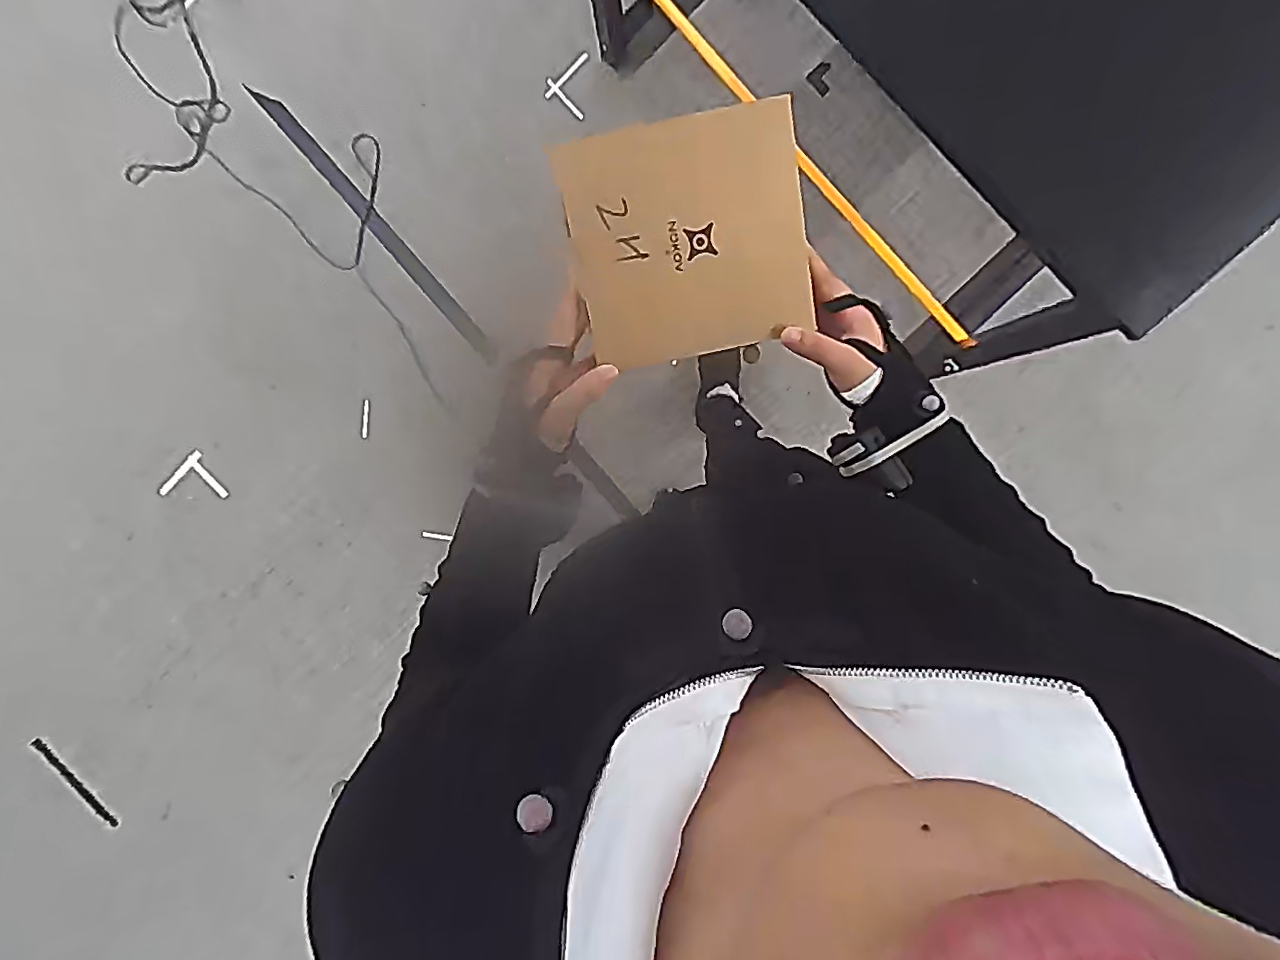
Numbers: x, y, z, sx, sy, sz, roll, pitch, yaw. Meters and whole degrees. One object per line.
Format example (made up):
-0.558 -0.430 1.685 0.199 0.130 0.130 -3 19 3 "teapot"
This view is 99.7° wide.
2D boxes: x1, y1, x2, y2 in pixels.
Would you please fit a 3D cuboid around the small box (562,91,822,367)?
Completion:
0.040 -0.203 0.481 0.179 0.176 0.168 -12 104 2 "small box"
